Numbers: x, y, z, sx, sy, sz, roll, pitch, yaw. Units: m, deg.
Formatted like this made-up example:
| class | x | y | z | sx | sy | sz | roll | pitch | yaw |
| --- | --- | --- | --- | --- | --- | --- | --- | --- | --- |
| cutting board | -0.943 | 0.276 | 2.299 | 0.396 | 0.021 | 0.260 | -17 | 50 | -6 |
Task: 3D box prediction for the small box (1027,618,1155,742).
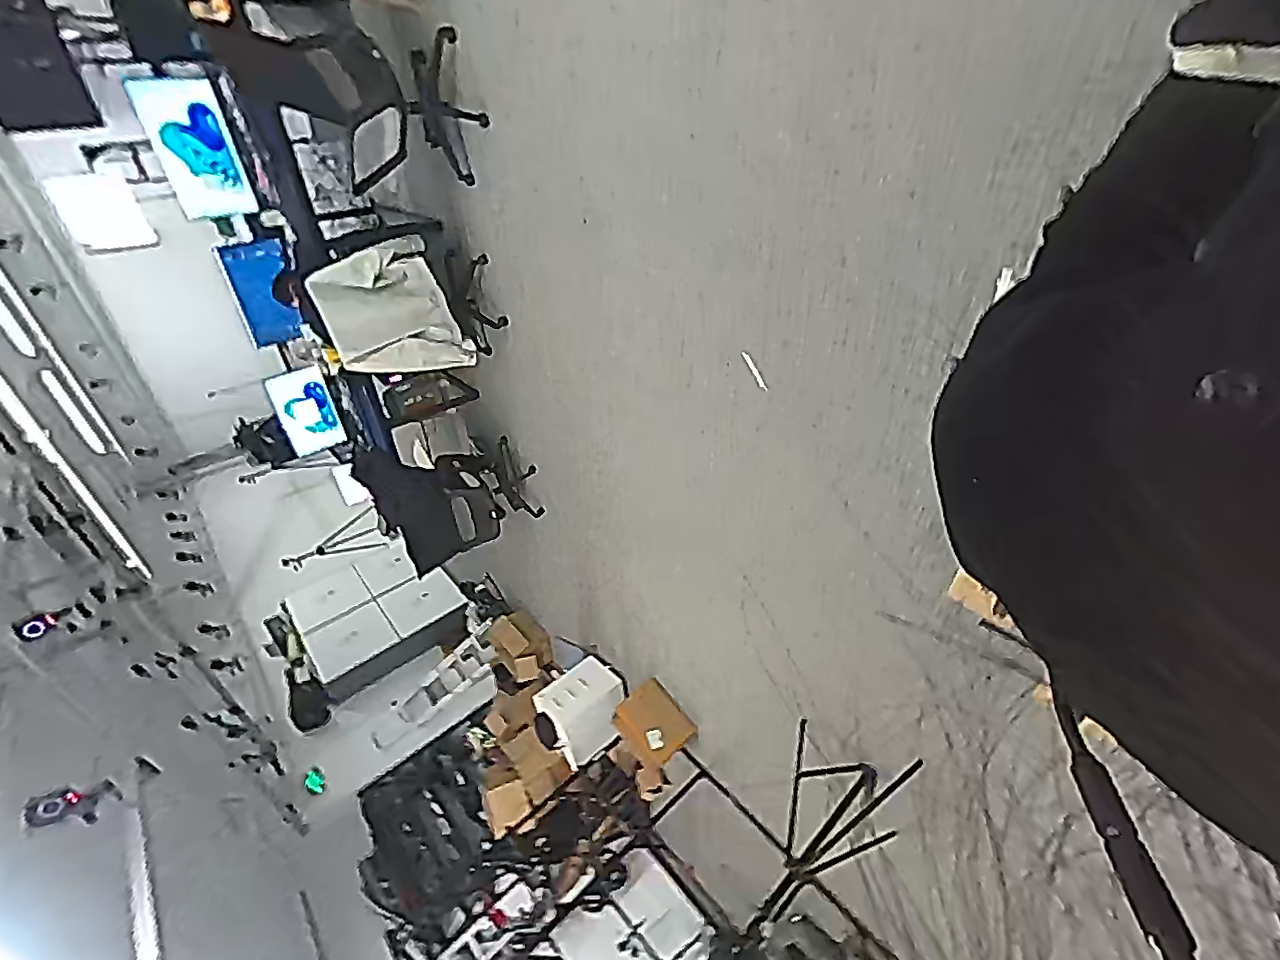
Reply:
| class | x | y | z | sx | sy | sz | roll | pitch | yaw |
| --- | --- | --- | --- | --- | --- | --- | --- | --- | --- |
| small box | 1.051 | 0.457 | 1.260 | 0.168 | 0.176 | 0.179 | 32 | 138 | 38 |
